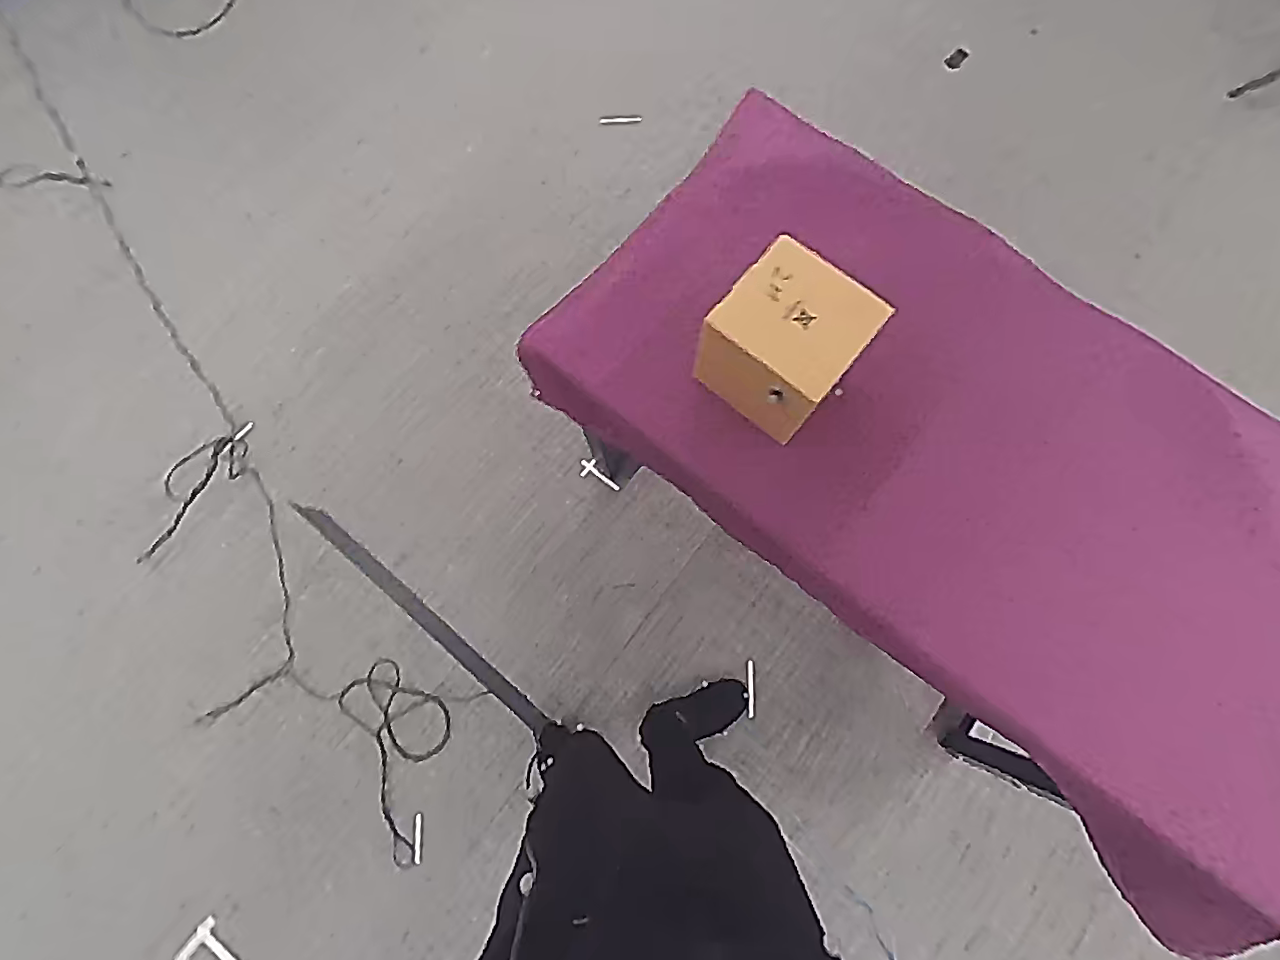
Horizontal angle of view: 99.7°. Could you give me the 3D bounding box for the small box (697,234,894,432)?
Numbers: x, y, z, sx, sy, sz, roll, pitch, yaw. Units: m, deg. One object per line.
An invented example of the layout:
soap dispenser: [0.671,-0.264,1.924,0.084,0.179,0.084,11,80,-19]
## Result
small box: [0.199,-0.186,0.743,0.179,0.176,0.168,40,80,10]
